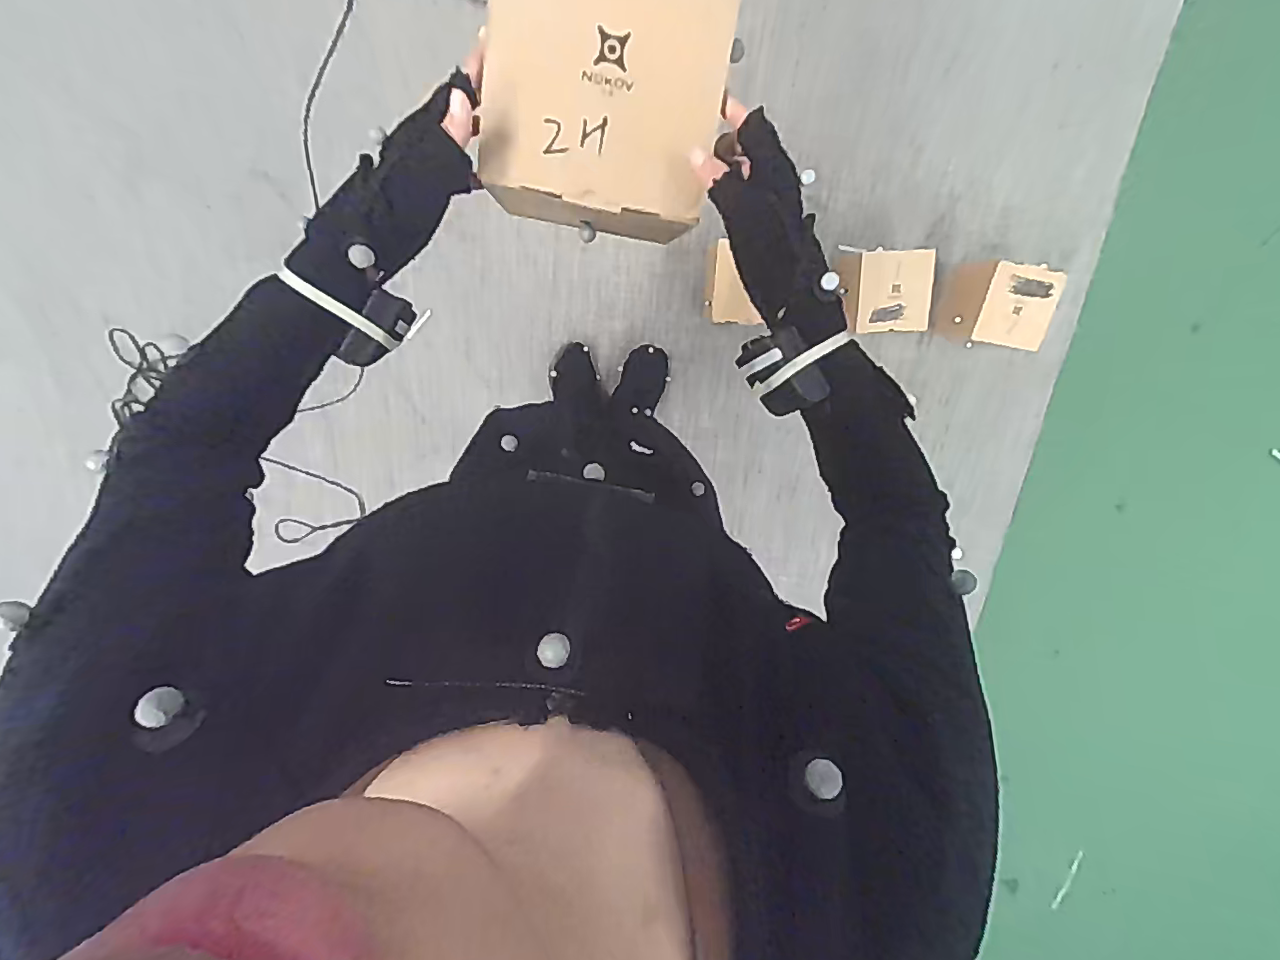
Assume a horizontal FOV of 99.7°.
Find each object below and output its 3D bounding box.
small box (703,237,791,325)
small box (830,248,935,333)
[{"bbox_3d":[0.241,-0.459,1.261,0.168,0.176,0.179,2,108,0],"label":"small box"},{"bbox_3d":[0.558,-0.442,1.269,0.168,0.176,0.179,-2,107,0],"label":"small box"}]
